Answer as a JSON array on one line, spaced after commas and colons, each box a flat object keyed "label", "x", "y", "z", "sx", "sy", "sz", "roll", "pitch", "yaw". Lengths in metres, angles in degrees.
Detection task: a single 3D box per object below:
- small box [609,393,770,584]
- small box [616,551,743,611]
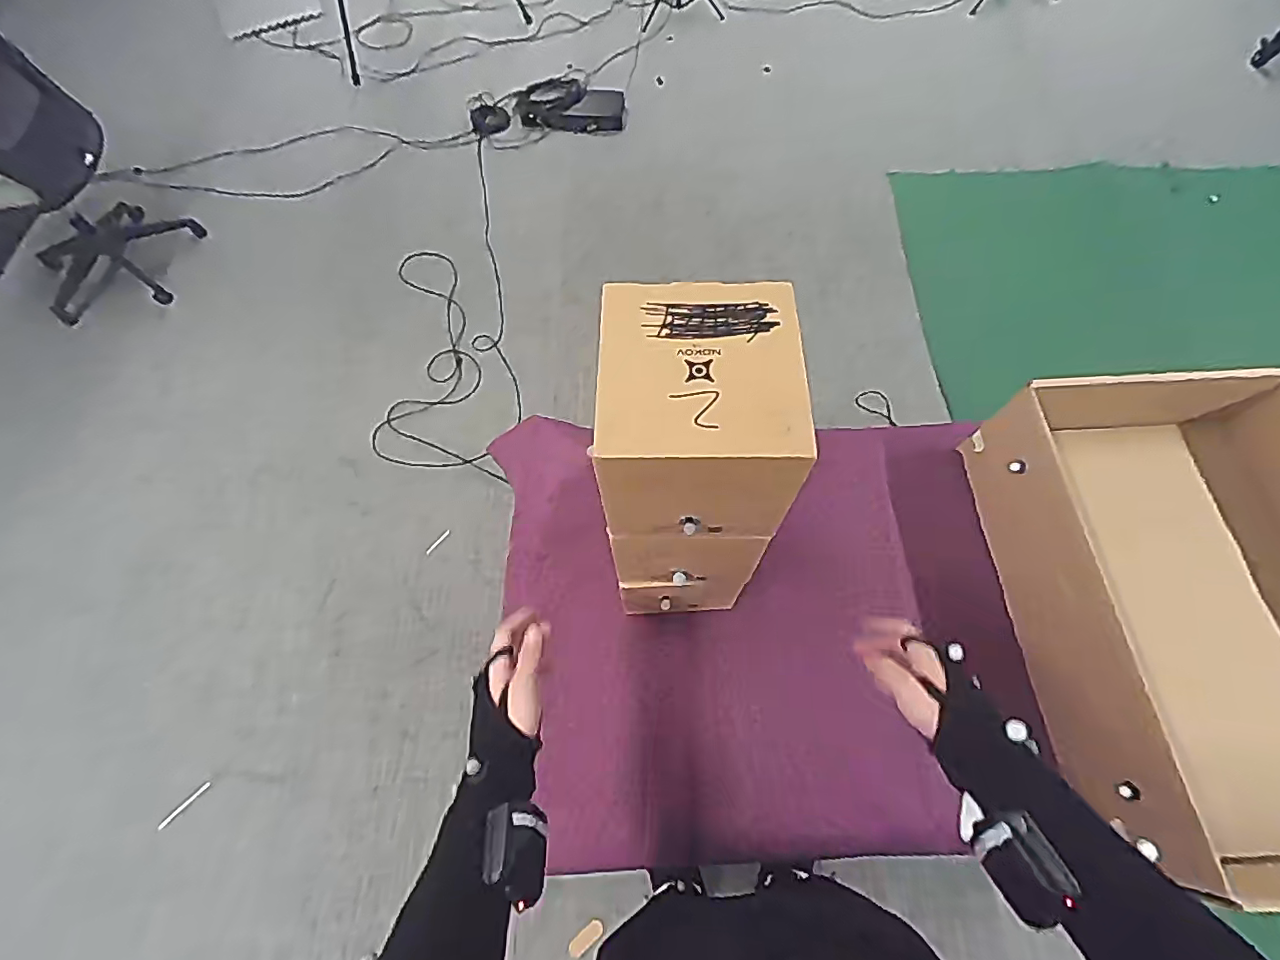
[{"label": "small box", "x": 0.055, "y": 0.015, "z": 0.650, "sx": 0.168, "sy": 0.176, "sz": 0.179, "roll": 1, "pitch": 64, "yaw": 3}, {"label": "small box", "x": 0.053, "y": 0.091, "z": 0.796, "sx": 0.168, "sy": 0.176, "sz": 0.179, "roll": -3, "pitch": 63, "yaw": 1}]
